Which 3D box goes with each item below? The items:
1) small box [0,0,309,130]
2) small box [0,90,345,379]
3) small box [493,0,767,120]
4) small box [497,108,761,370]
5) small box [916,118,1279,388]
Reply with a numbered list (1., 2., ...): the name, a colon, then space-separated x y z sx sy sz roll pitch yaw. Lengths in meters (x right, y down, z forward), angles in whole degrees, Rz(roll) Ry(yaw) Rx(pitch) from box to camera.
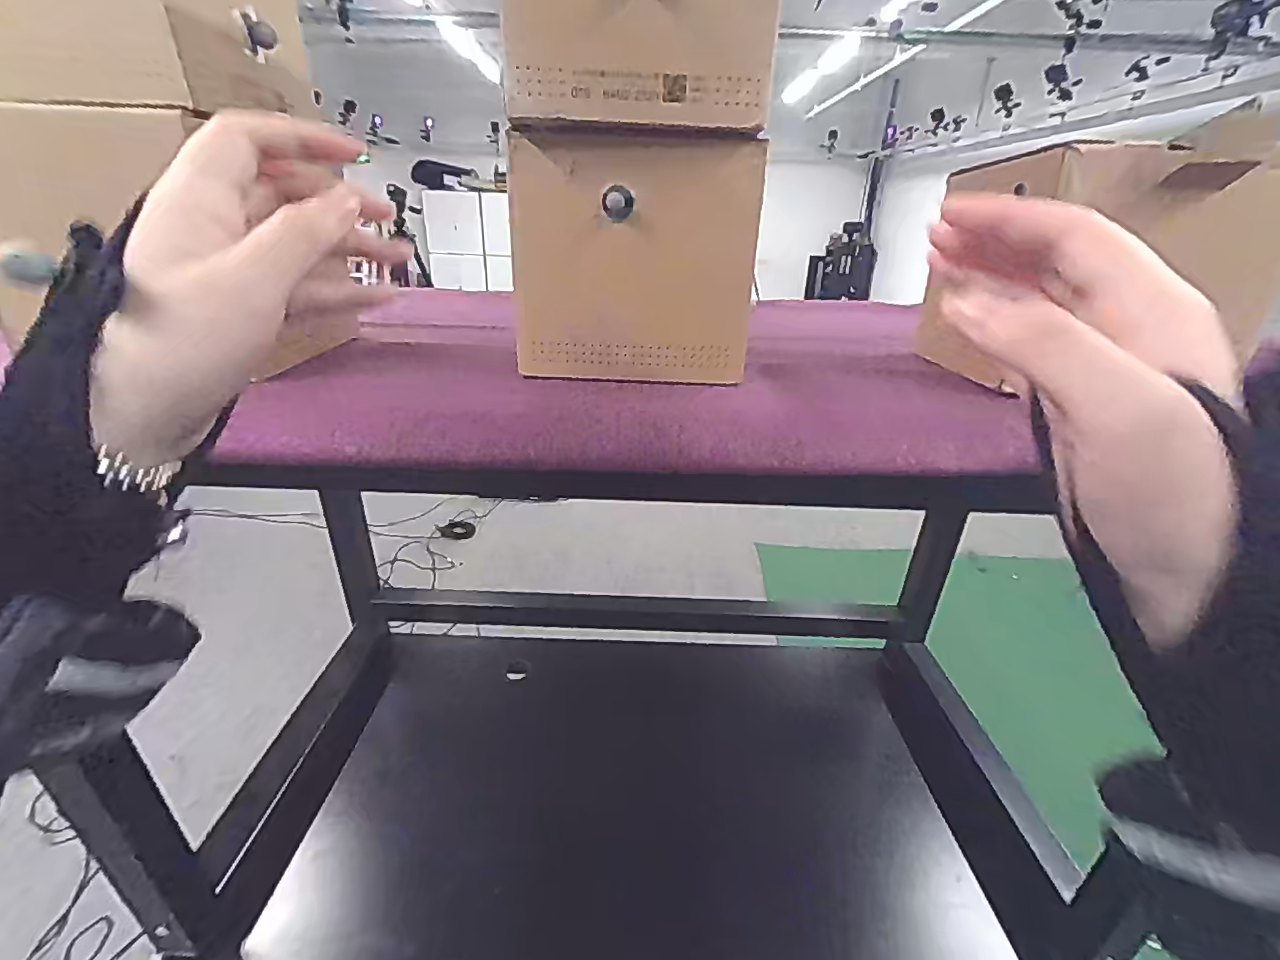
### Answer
1. small box: -0.358 -0.334 0.350 0.179 0.176 0.168 -1 27 -4
2. small box: -0.356 -0.184 0.420 0.168 0.176 0.179 -1 27 -3
3. small box: -0.008 -0.336 0.373 0.168 0.176 0.179 0 25 -4
4. small box: -0.007 -0.192 0.452 0.179 0.176 0.168 2 25 0
5. small box: 0.354 -0.180 0.444 0.168 0.176 0.179 2 24 3
